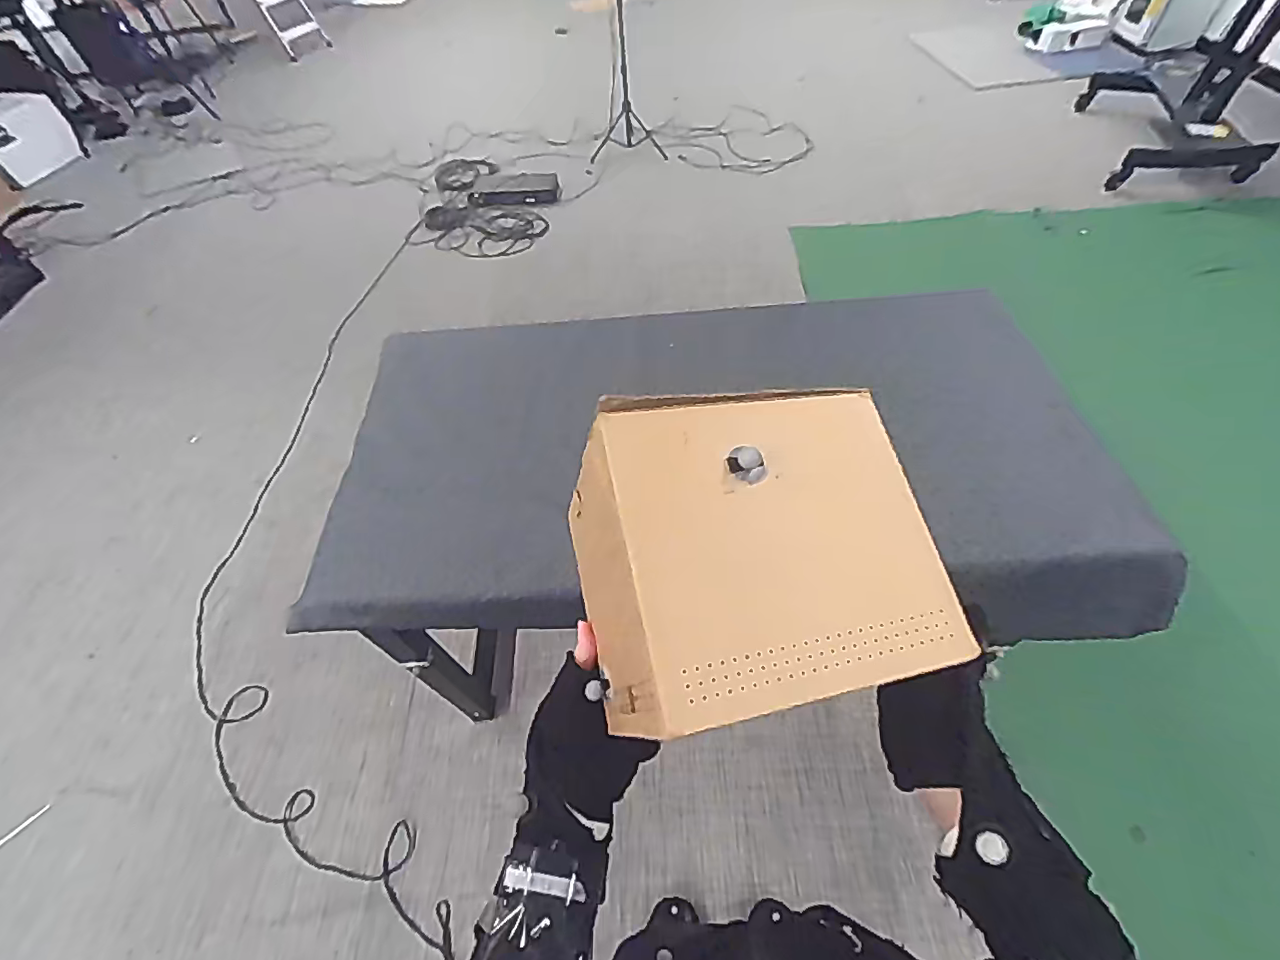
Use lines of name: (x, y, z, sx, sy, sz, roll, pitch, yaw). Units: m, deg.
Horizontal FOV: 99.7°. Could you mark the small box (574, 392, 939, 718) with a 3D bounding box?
small box: (0.060, 0.060, 0.375, 0.179, 0.168, 0.176, -7, 69, -16)
